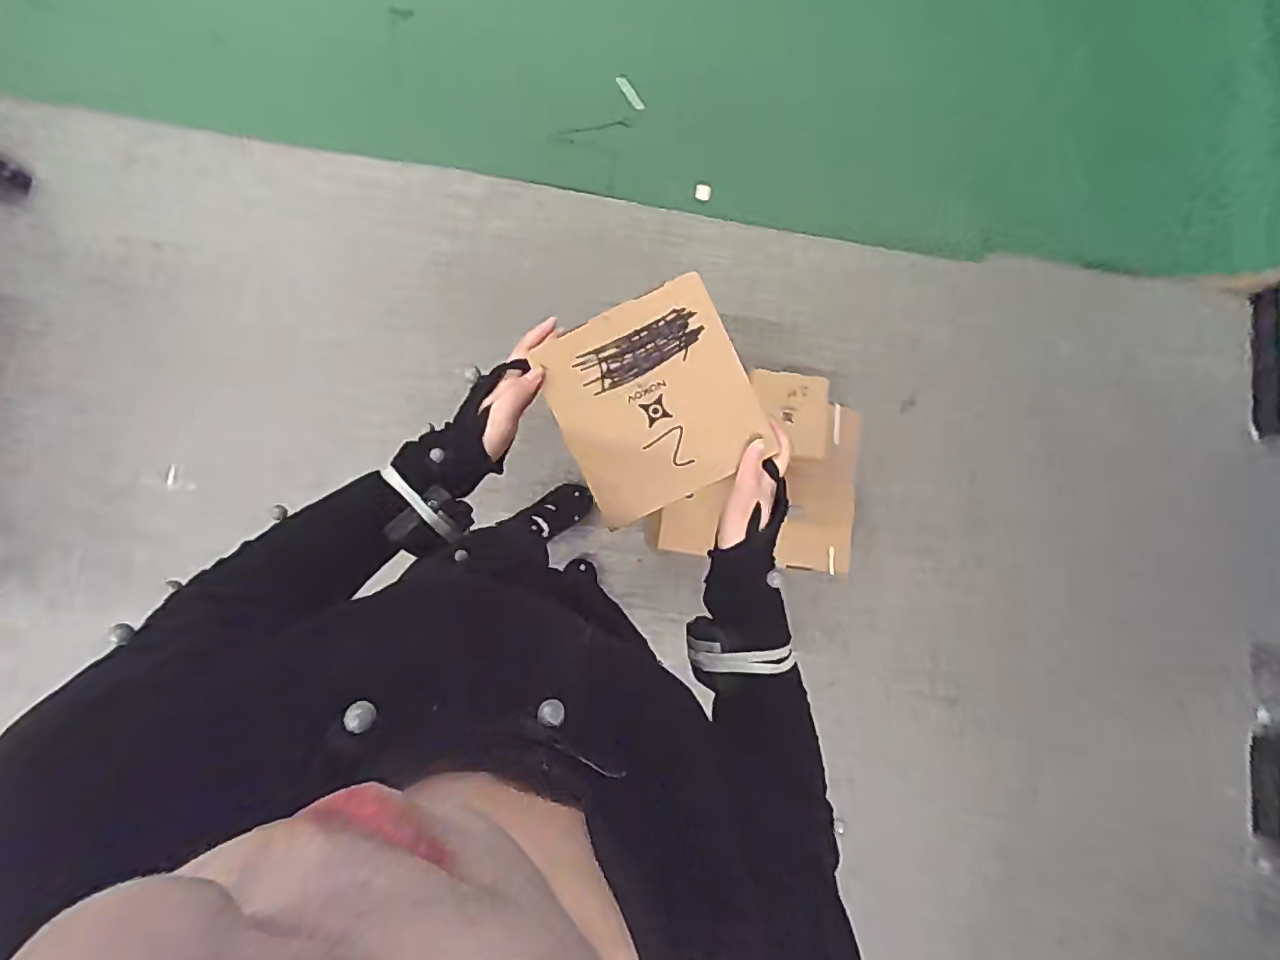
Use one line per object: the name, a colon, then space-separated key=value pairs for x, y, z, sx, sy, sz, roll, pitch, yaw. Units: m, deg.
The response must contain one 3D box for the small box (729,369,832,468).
small box: x=0.299 y=-0.125 z=1.186 sx=0.168 sy=0.176 sz=0.179 roll=7 pitch=84 yaw=-6
